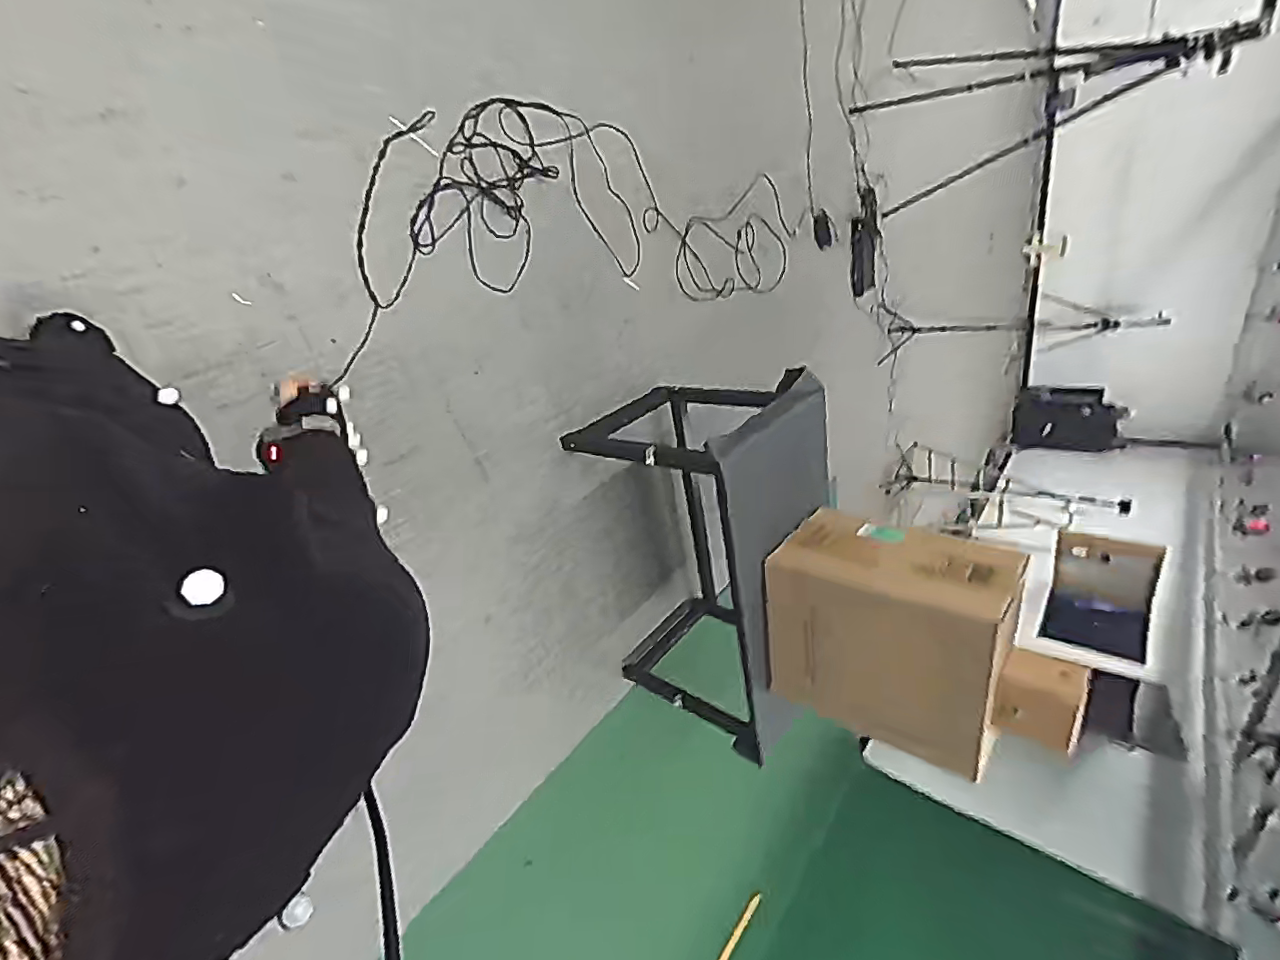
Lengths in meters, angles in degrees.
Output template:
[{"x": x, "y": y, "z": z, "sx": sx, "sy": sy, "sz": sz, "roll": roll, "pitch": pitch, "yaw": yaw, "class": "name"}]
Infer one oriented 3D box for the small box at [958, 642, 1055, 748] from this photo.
[{"x": 0.968, "y": 0.557, "z": 1.431, "sx": 0.179, "sy": 0.176, "sz": 0.168, "roll": -20, "pitch": 114, "yaw": -43, "class": "small box"}]
